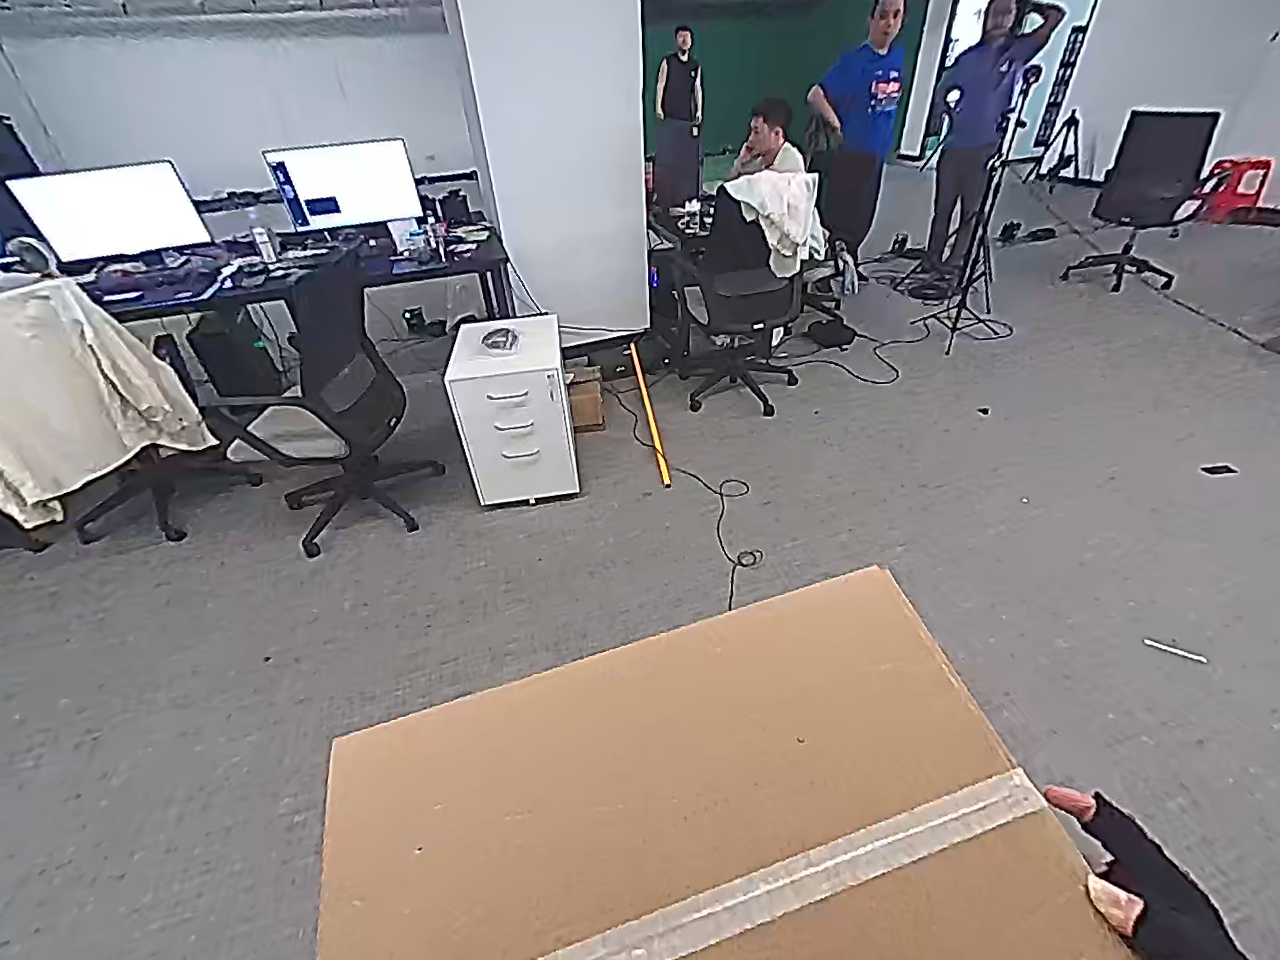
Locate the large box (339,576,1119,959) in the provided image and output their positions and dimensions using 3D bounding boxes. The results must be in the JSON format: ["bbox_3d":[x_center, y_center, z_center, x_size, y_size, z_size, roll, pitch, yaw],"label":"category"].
[{"bbox_3d":[0.045,0.330,0.418,0.408,0.320,0.320,-16,51,-7],"label":"large box"}]
